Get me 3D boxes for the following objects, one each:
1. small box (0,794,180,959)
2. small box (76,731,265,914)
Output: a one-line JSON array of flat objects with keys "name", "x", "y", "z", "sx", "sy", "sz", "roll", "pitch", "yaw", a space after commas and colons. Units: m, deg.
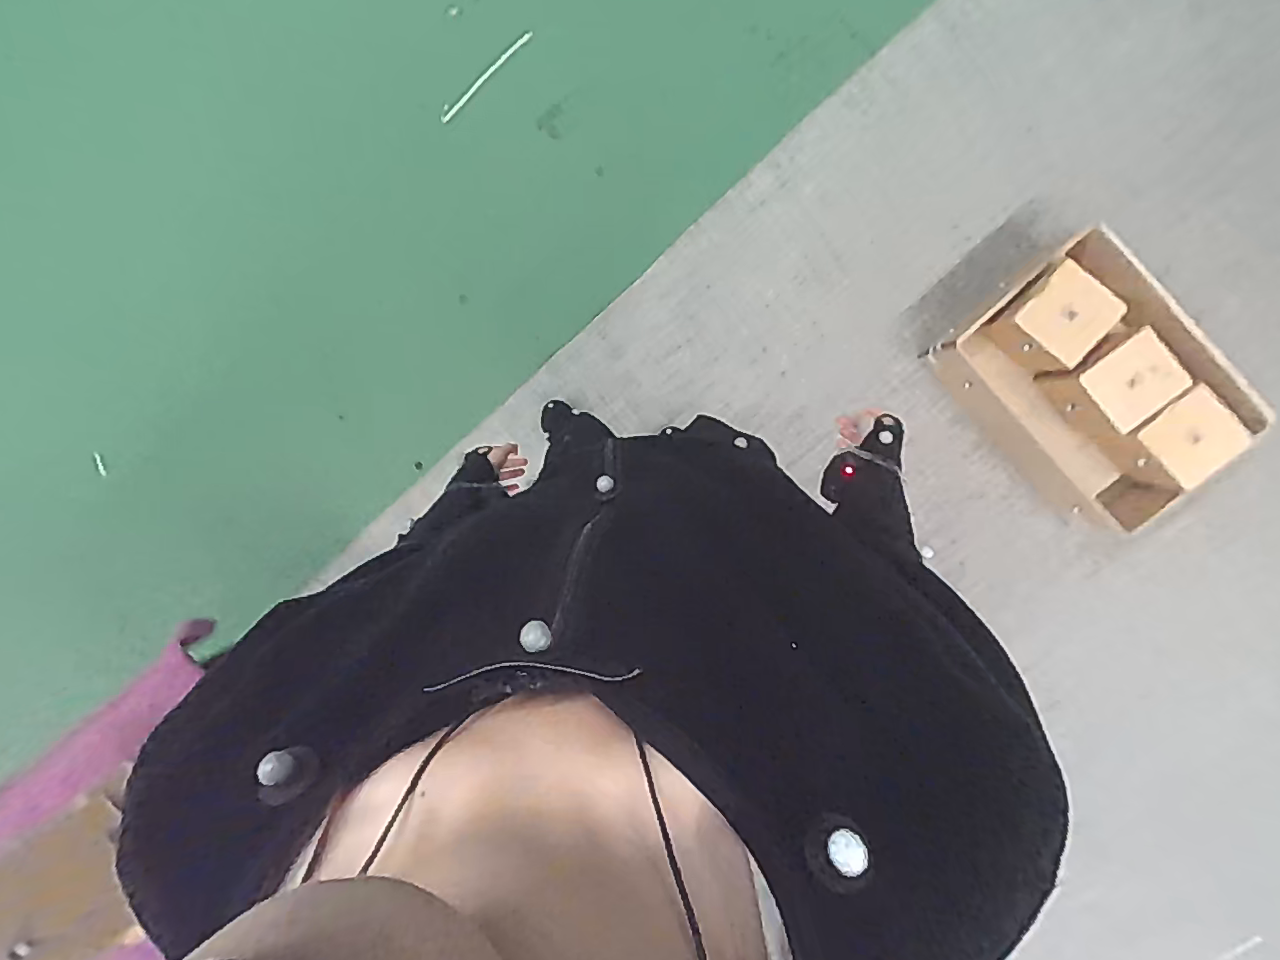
[{"name": "small box", "x": -0.722, "y": 0.532, "z": 0.647, "sx": 0.179, "sy": 0.176, "sz": 0.168, "roll": -39, "pitch": 93, "yaw": 8}, {"name": "small box", "x": -0.724, "y": 0.523, "z": 0.812, "sx": 0.168, "sy": 0.176, "sz": 0.179, "roll": -42, "pitch": 92, "yaw": 7}]
